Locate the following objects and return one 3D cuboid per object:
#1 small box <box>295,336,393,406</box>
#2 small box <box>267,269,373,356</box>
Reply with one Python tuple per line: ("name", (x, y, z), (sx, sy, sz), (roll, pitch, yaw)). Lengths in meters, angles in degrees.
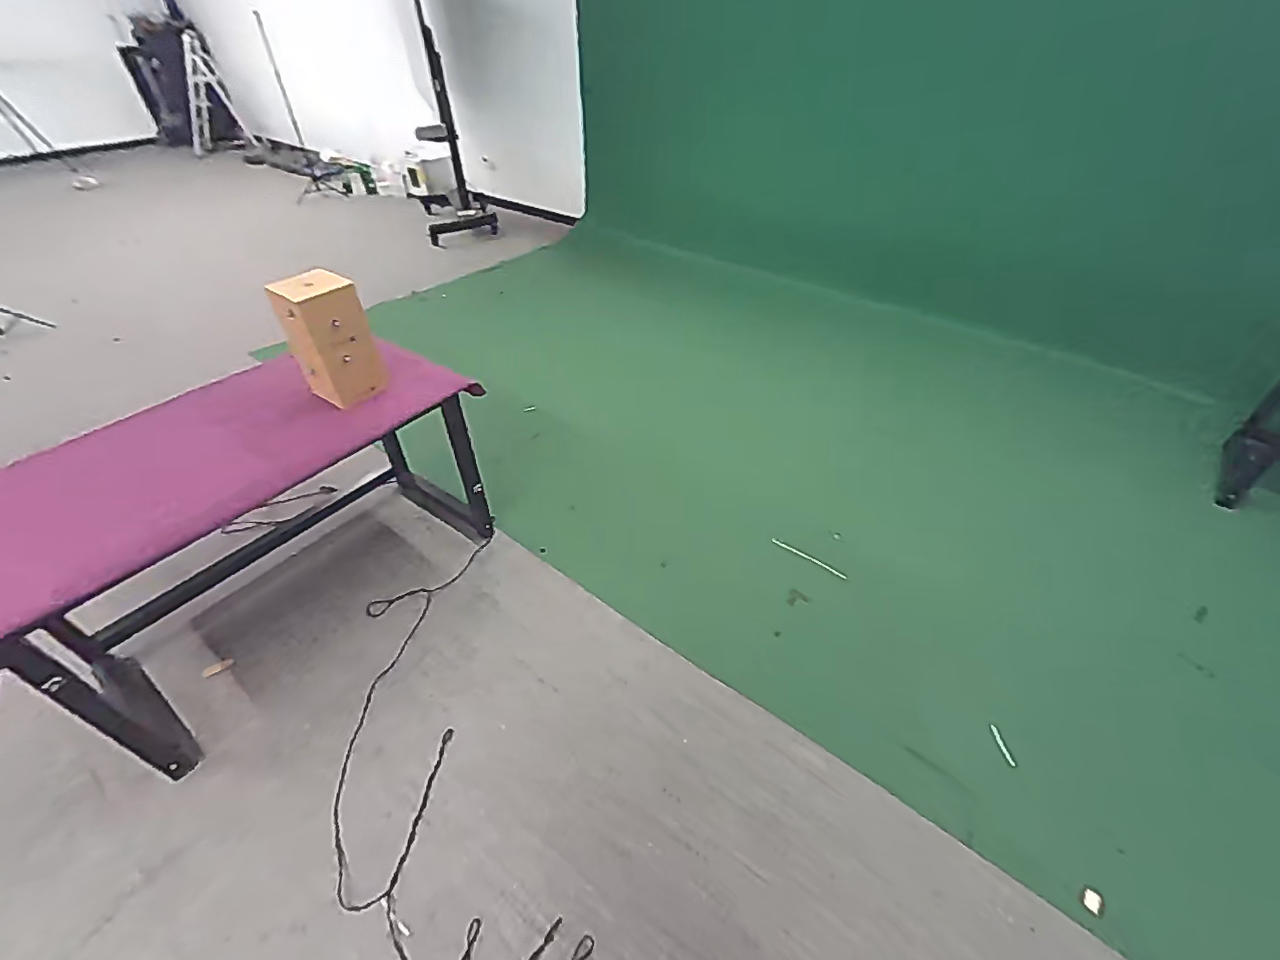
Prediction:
("small box", (-0.886, -0.344, 1.628), (0.179, 0.176, 0.168), (25, 49, 27))
("small box", (-0.888, -0.467, 1.518), (0.179, 0.176, 0.168), (26, 48, 28))
